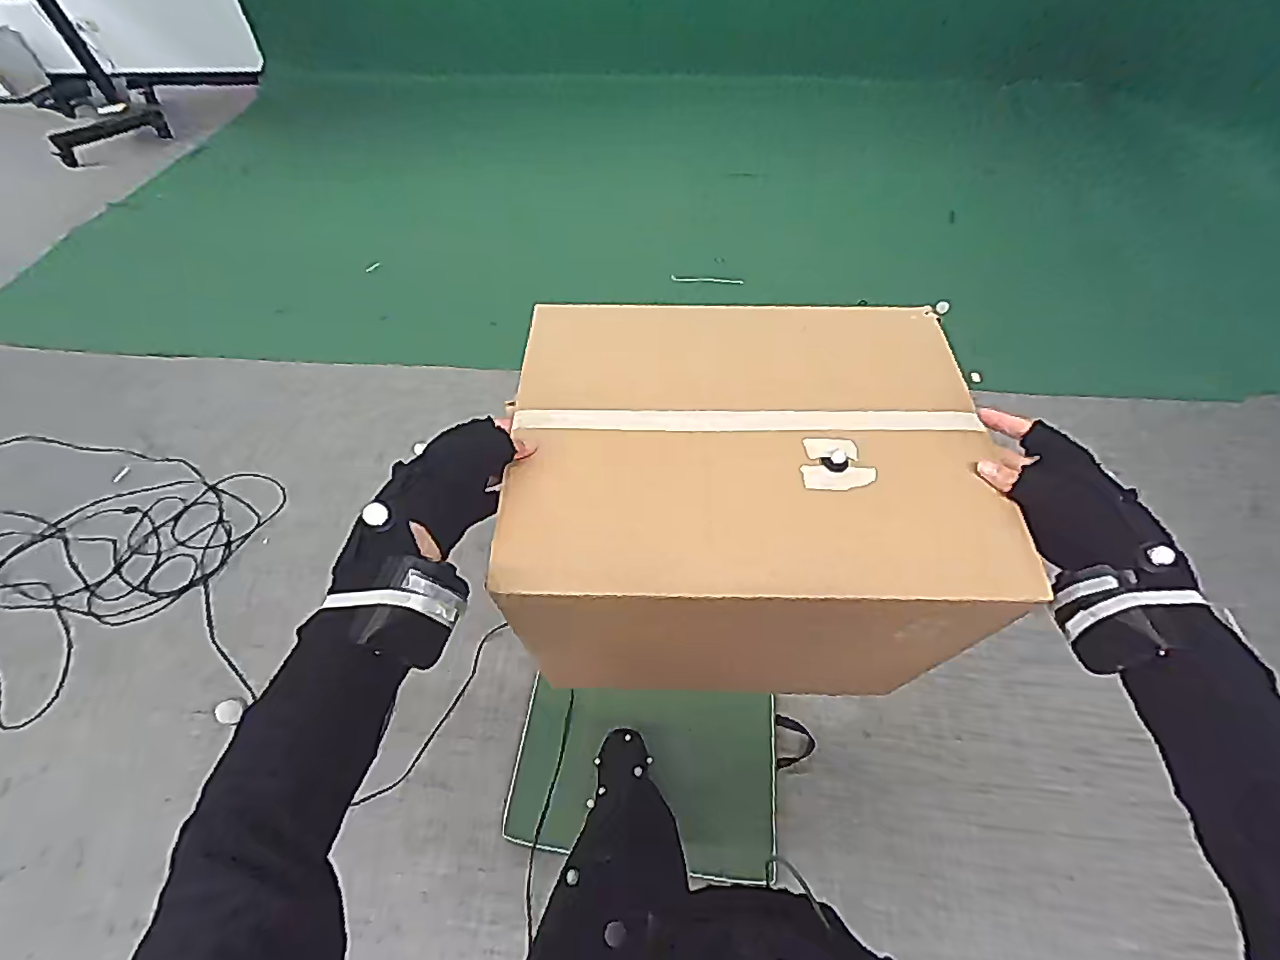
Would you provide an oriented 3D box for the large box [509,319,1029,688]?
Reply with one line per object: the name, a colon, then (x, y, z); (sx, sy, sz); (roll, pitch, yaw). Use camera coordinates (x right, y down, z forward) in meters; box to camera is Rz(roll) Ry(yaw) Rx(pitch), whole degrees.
large box: (0.095, 0.040, 0.610); (0.408, 0.320, 0.320); (1, 57, 0)
